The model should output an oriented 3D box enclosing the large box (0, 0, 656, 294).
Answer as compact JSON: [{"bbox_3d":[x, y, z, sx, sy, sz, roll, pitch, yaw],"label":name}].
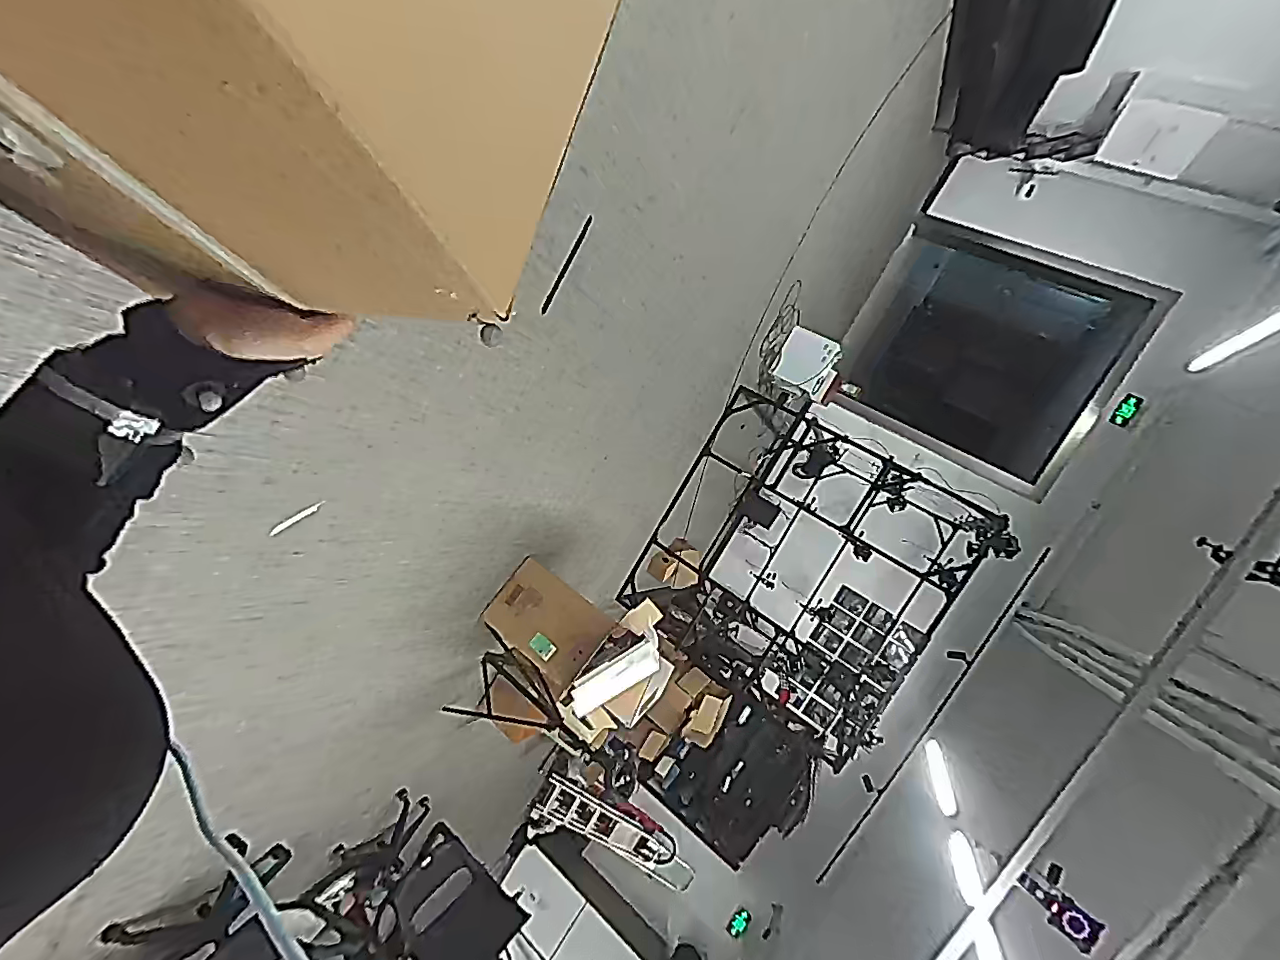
[{"bbox_3d":[-0.198,-0.332,0.211,0.408,0.320,0.320,51,52,-66],"label":"large box"}]
